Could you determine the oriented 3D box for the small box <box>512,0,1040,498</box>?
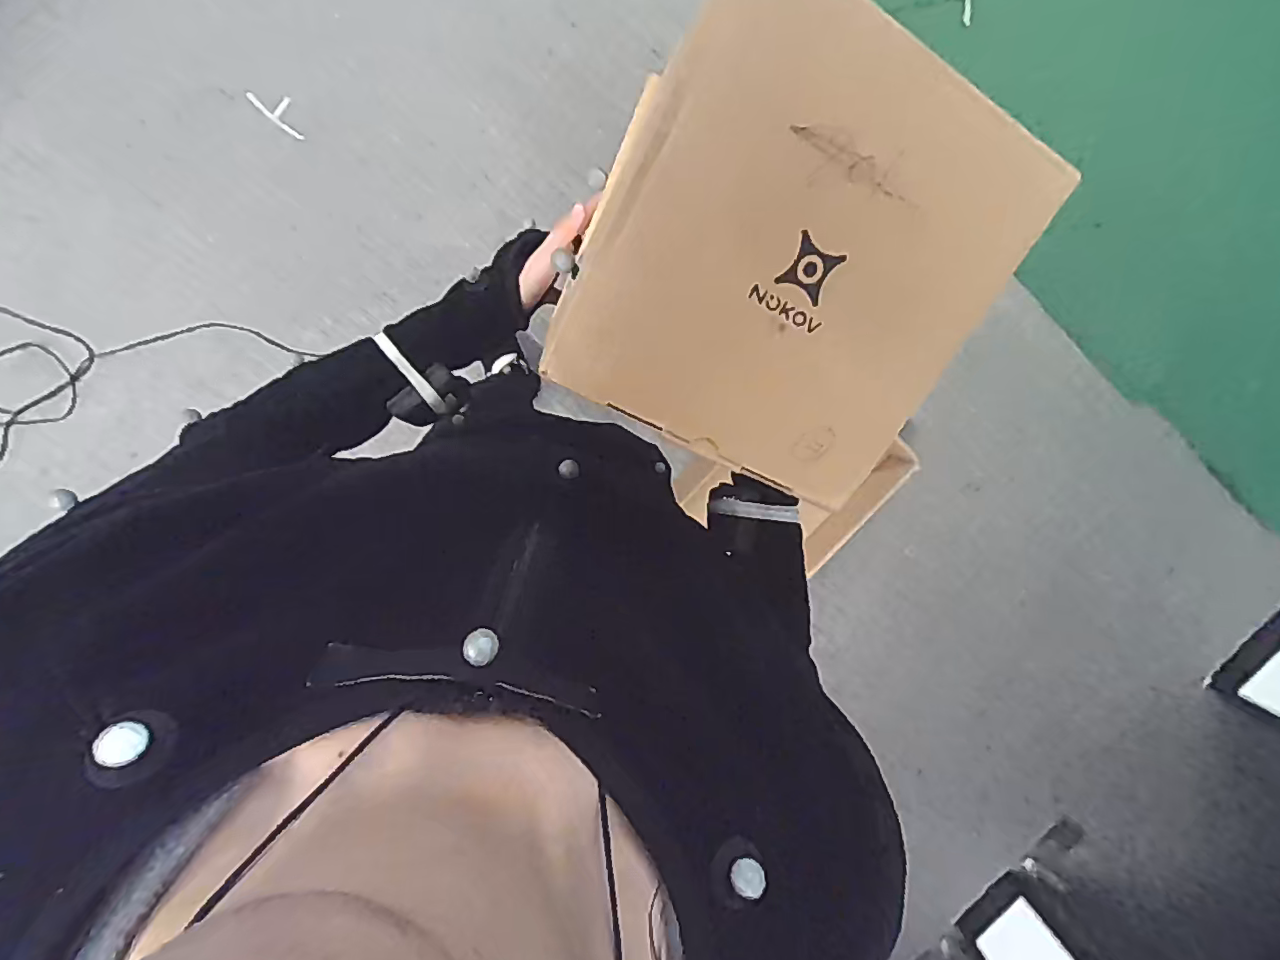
[{"bbox_3d":[0.047,-0.124,0.299,0.168,0.176,0.179,24,109,-17],"label":"small box"}]
